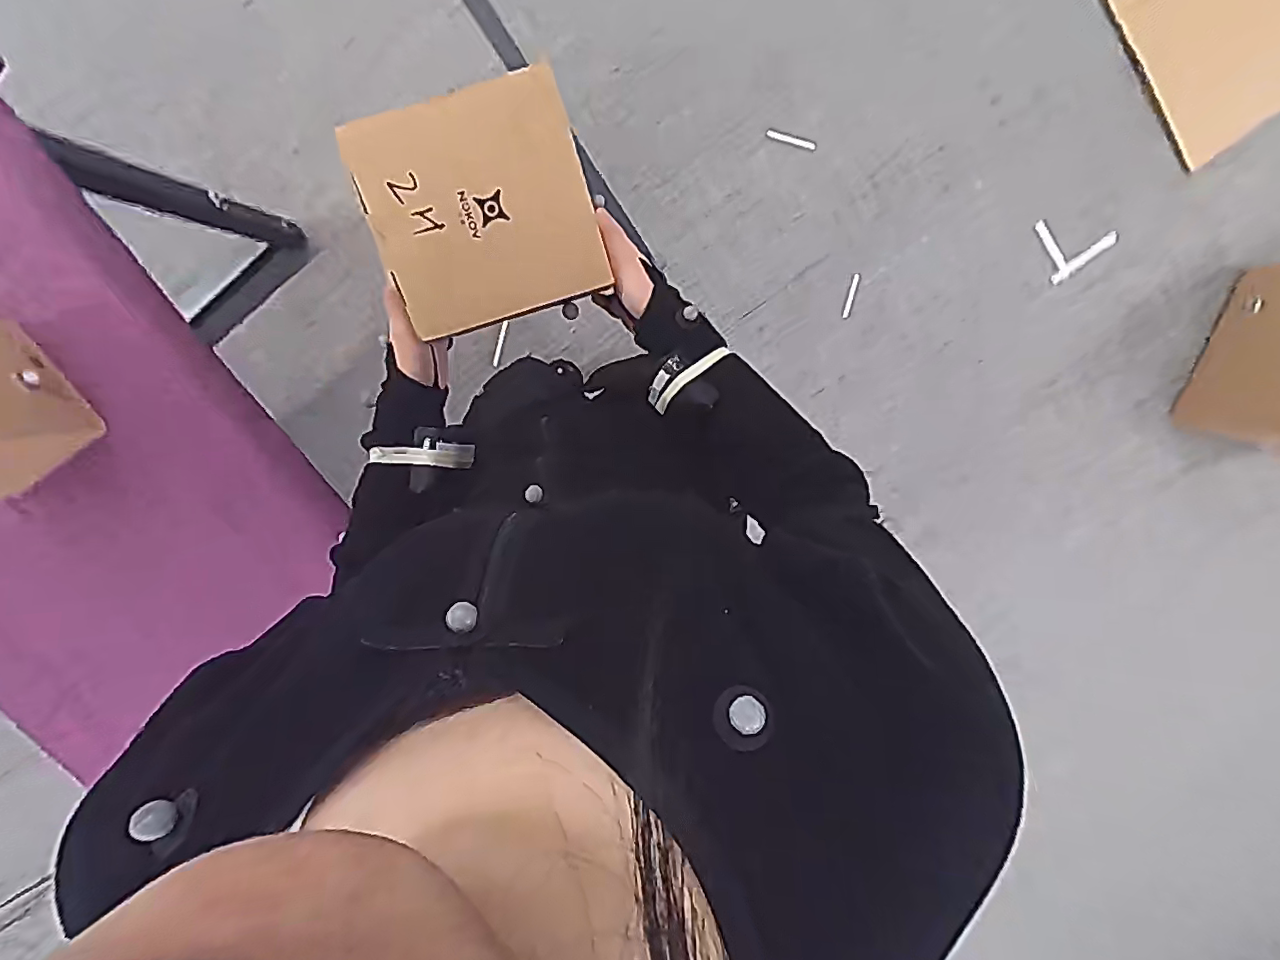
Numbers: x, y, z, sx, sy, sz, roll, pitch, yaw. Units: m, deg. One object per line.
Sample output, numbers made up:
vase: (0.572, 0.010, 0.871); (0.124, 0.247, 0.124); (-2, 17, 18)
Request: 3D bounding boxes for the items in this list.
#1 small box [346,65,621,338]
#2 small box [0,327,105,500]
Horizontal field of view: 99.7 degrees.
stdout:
small box: (-0.126, -0.241, 0.505); (0.179, 0.176, 0.168); (-16, 108, 1)
small box: (-0.818, -0.069, 0.640); (0.179, 0.176, 0.168); (-32, 102, 7)
